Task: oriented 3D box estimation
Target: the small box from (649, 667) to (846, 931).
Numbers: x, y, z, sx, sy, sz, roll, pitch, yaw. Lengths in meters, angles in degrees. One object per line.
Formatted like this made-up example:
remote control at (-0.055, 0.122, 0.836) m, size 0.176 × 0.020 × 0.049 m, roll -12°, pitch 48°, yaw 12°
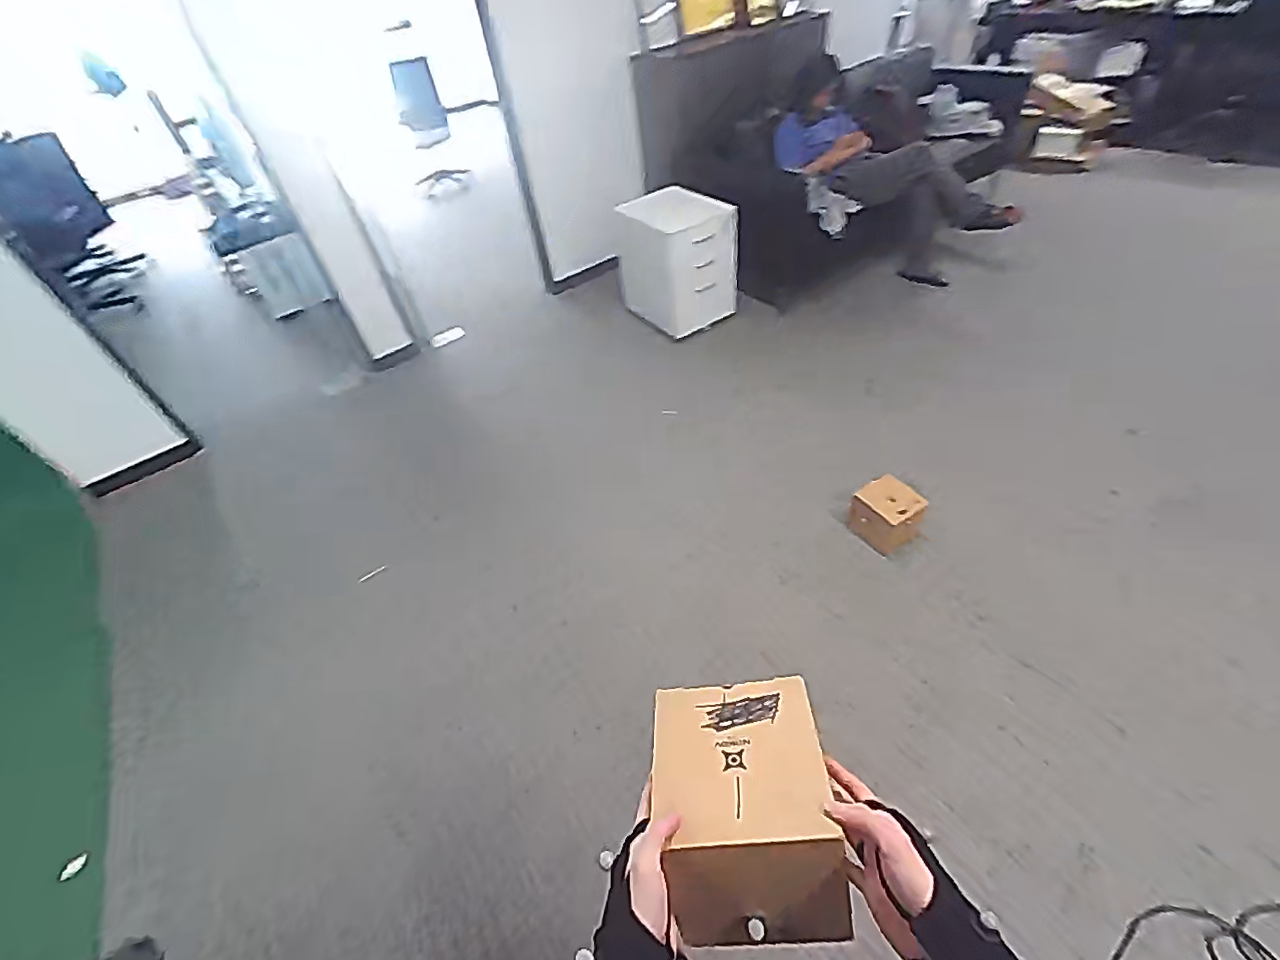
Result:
small box at (0.110, 0.328, 0.568) m, size 0.168 × 0.176 × 0.179 m, roll -10°, pitch 26°, yaw 10°

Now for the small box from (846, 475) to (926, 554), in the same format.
small box at (0.837, 0.121, 1.857) m, size 0.168 × 0.176 × 0.179 m, roll -26°, pitch 46°, yaw -17°
